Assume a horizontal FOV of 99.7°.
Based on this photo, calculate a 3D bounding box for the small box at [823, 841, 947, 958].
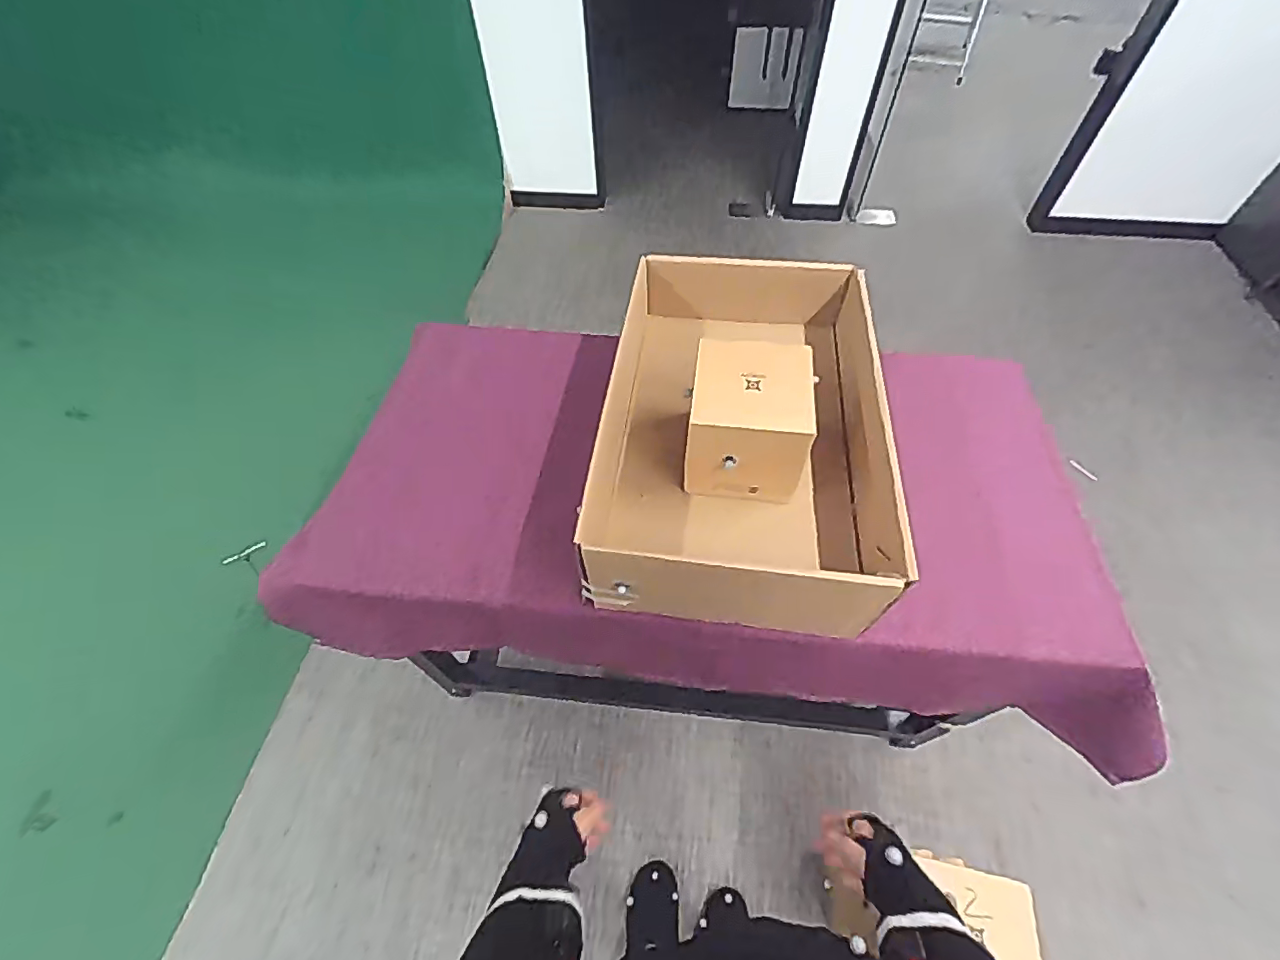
[{"bbox_3d":[0.488,0.847,1.104,0.179,0.176,0.168,3,55,5],"label":"small box"}]

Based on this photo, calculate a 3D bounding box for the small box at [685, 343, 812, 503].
[{"bbox_3d":[0.158,-0.083,0.818,0.168,0.176,0.179,5,54,6],"label":"small box"}]
